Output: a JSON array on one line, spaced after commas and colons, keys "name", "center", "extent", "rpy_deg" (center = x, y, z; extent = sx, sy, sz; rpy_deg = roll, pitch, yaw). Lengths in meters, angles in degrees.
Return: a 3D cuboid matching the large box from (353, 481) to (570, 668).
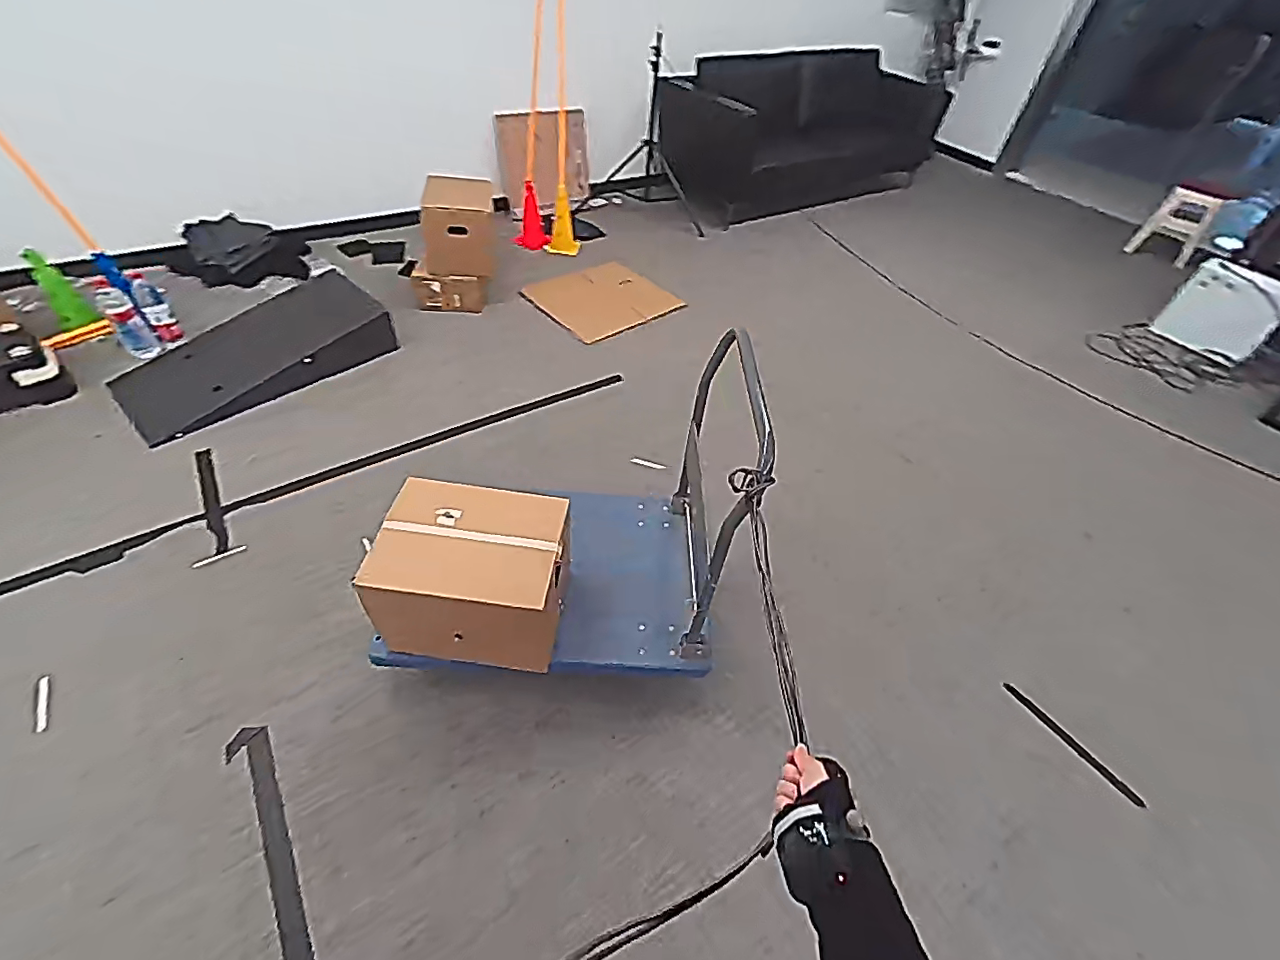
[{"name": "large box", "center": [-0.394, 0.236, 1.322], "extent": [0.408, 0.320, 0.320], "rpy_deg": [8, 46, 0]}]
